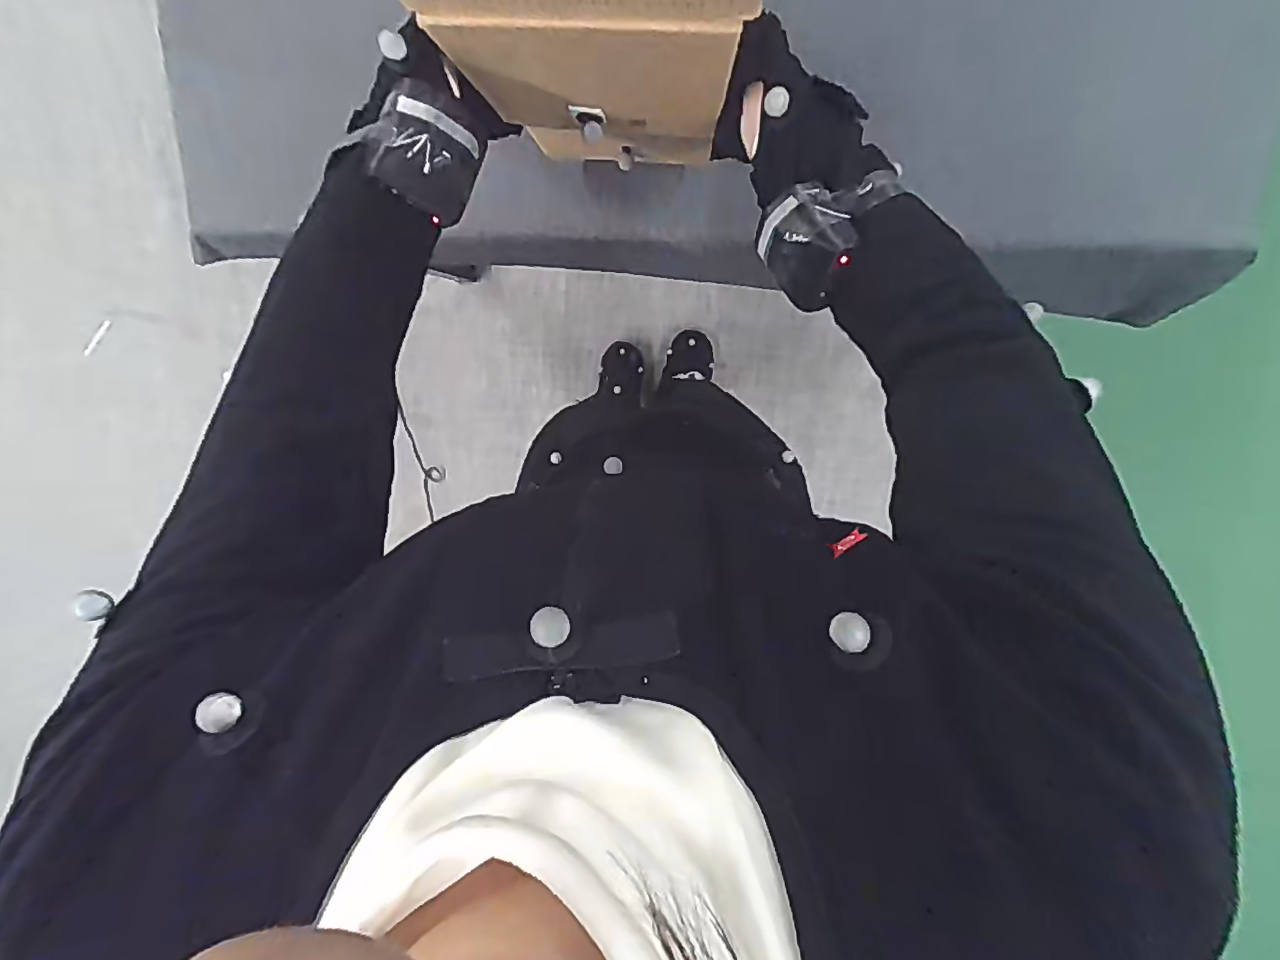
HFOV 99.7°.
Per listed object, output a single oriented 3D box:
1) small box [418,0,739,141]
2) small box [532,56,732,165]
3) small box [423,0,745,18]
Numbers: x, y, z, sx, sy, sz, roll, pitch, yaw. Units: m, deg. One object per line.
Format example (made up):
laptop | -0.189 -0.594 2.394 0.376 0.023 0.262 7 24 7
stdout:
small box | -0.023 -0.334 0.327 0.168 0.176 0.179 4 107 2
small box | -0.012 -0.395 0.478 0.179 0.176 0.168 3 105 1
small box | -0.031 -0.293 0.185 0.179 0.176 0.168 4 106 2
